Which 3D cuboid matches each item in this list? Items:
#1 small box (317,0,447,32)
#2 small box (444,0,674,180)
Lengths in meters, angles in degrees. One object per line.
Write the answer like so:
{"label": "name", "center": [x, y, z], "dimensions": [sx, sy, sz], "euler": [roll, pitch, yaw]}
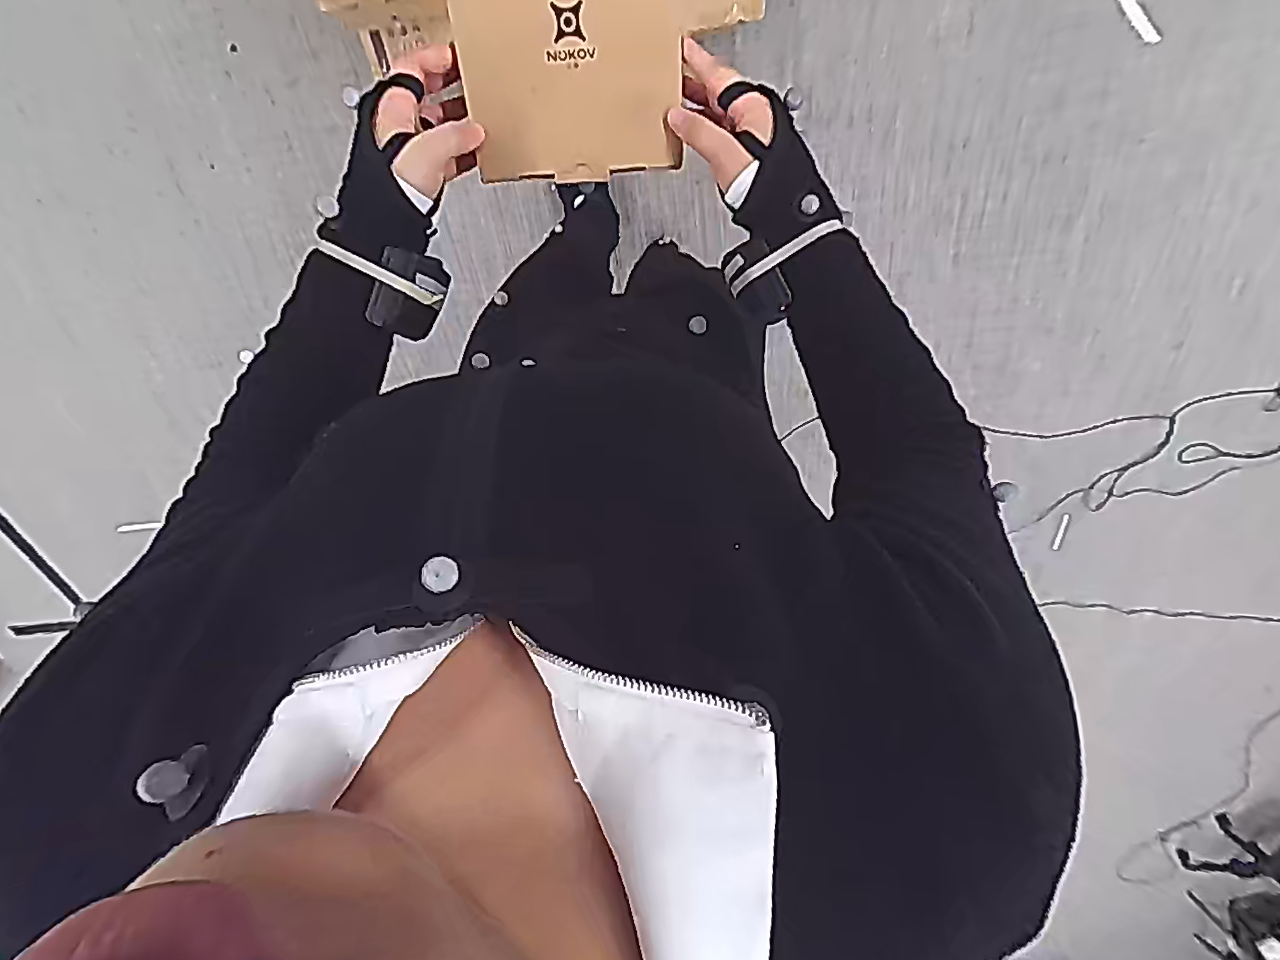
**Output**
{"label": "small box", "center": [-0.432, -0.858, 0.867], "dimensions": [0.168, 0.176, 0.179], "euler": [-7, 121, 4]}
{"label": "small box", "center": [-0.058, -0.364, 0.461], "dimensions": [0.168, 0.176, 0.179], "euler": [-4, 121, 0]}
